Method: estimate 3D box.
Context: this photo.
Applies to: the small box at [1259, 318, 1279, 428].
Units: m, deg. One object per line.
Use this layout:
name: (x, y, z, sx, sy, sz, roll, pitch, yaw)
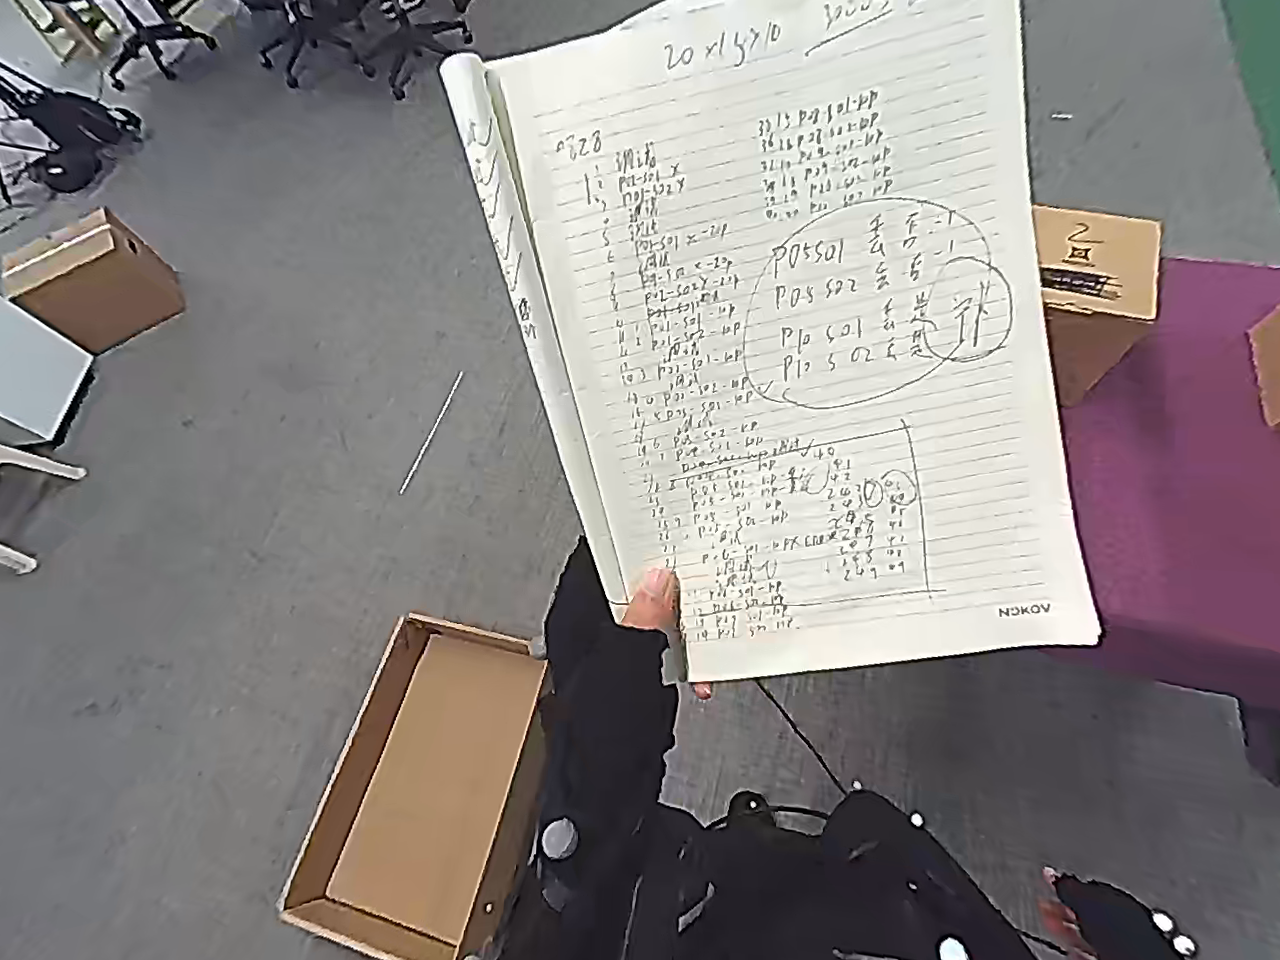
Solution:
small box: (0.899, -0.151, 0.634, 0.168, 0.176, 0.179, 14, 66, 15)
